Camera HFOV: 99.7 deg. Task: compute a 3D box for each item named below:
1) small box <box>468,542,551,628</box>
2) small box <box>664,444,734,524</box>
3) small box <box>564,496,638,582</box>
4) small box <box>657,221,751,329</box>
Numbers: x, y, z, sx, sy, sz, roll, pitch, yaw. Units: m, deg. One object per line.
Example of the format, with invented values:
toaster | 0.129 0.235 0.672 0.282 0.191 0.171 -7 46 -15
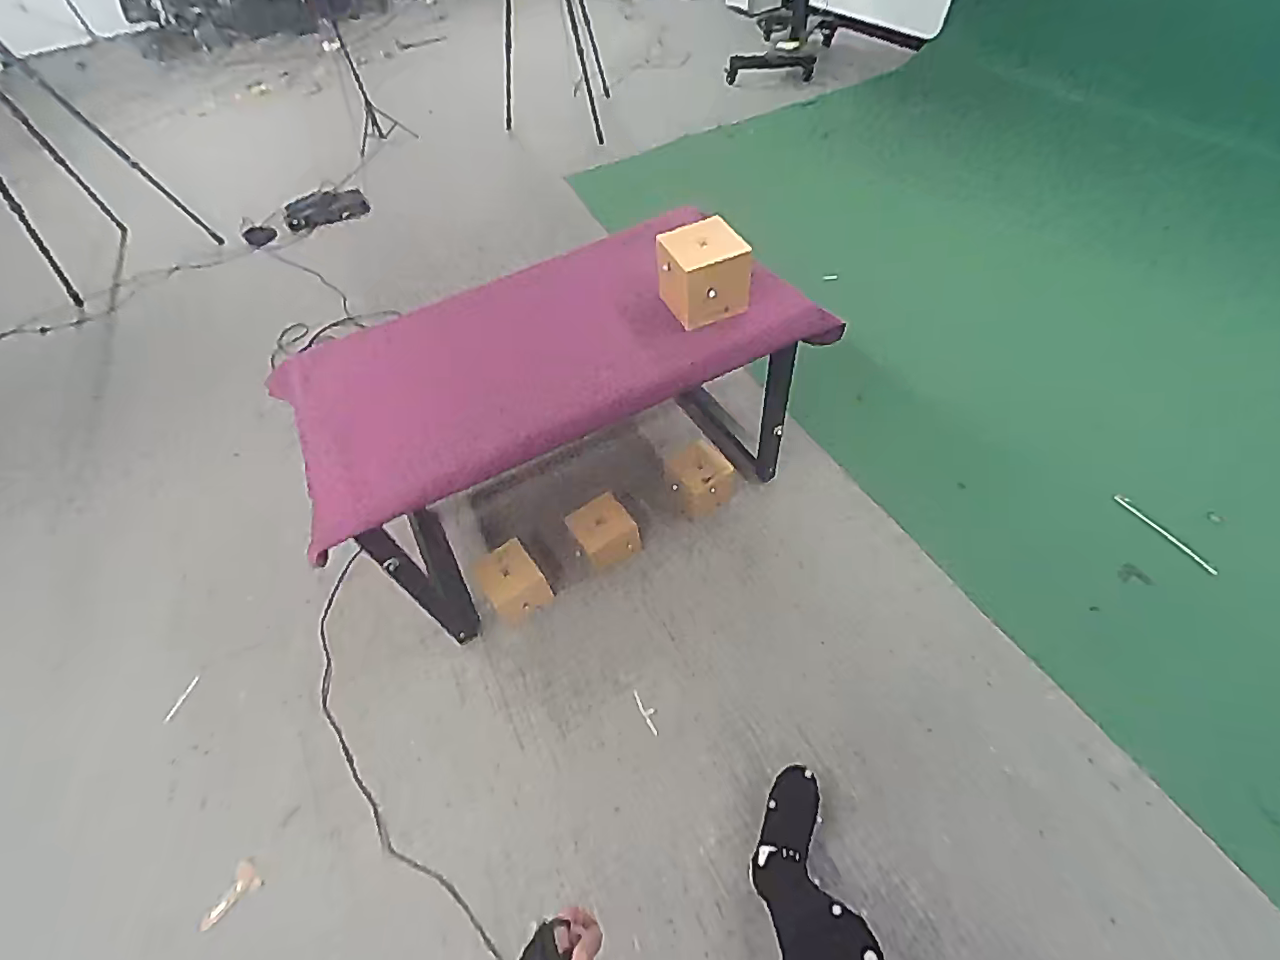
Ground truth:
small box | -0.393 0.331 1.659 0.168 0.176 0.179 -33 57 -18
small box | 0.198 0.017 1.832 0.168 0.176 0.179 -31 56 -17
small box | -0.118 0.191 1.736 0.179 0.176 0.168 -32 55 -16
small box | 0.154 -0.485 1.304 0.168 0.176 0.179 -21 53 -8
